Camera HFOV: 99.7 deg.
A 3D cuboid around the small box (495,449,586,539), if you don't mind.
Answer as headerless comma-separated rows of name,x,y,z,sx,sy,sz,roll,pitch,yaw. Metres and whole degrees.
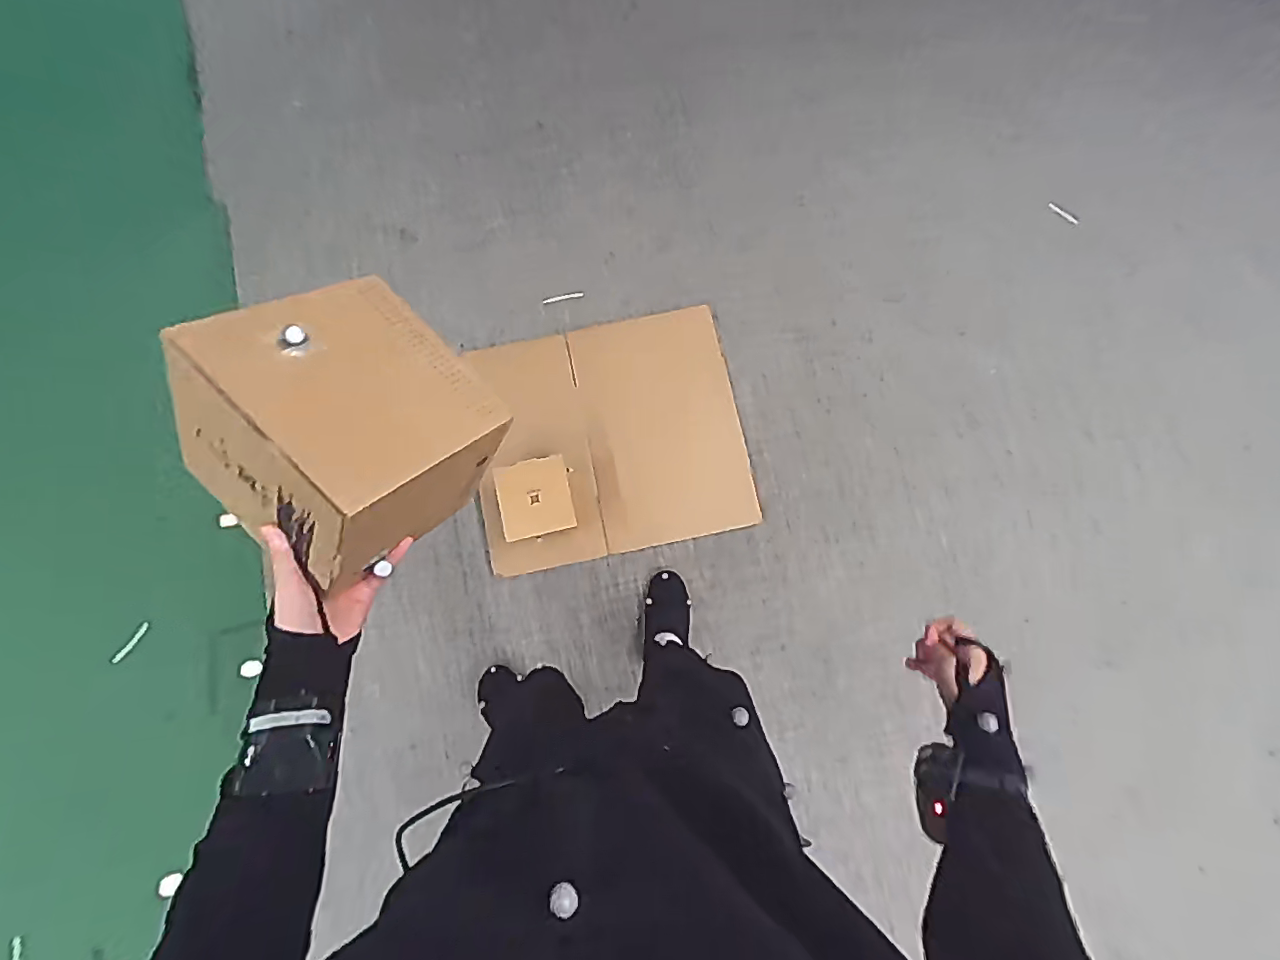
small box,-0.231,0.040,1.297,0.168,0.176,0.179,-14,81,-2
